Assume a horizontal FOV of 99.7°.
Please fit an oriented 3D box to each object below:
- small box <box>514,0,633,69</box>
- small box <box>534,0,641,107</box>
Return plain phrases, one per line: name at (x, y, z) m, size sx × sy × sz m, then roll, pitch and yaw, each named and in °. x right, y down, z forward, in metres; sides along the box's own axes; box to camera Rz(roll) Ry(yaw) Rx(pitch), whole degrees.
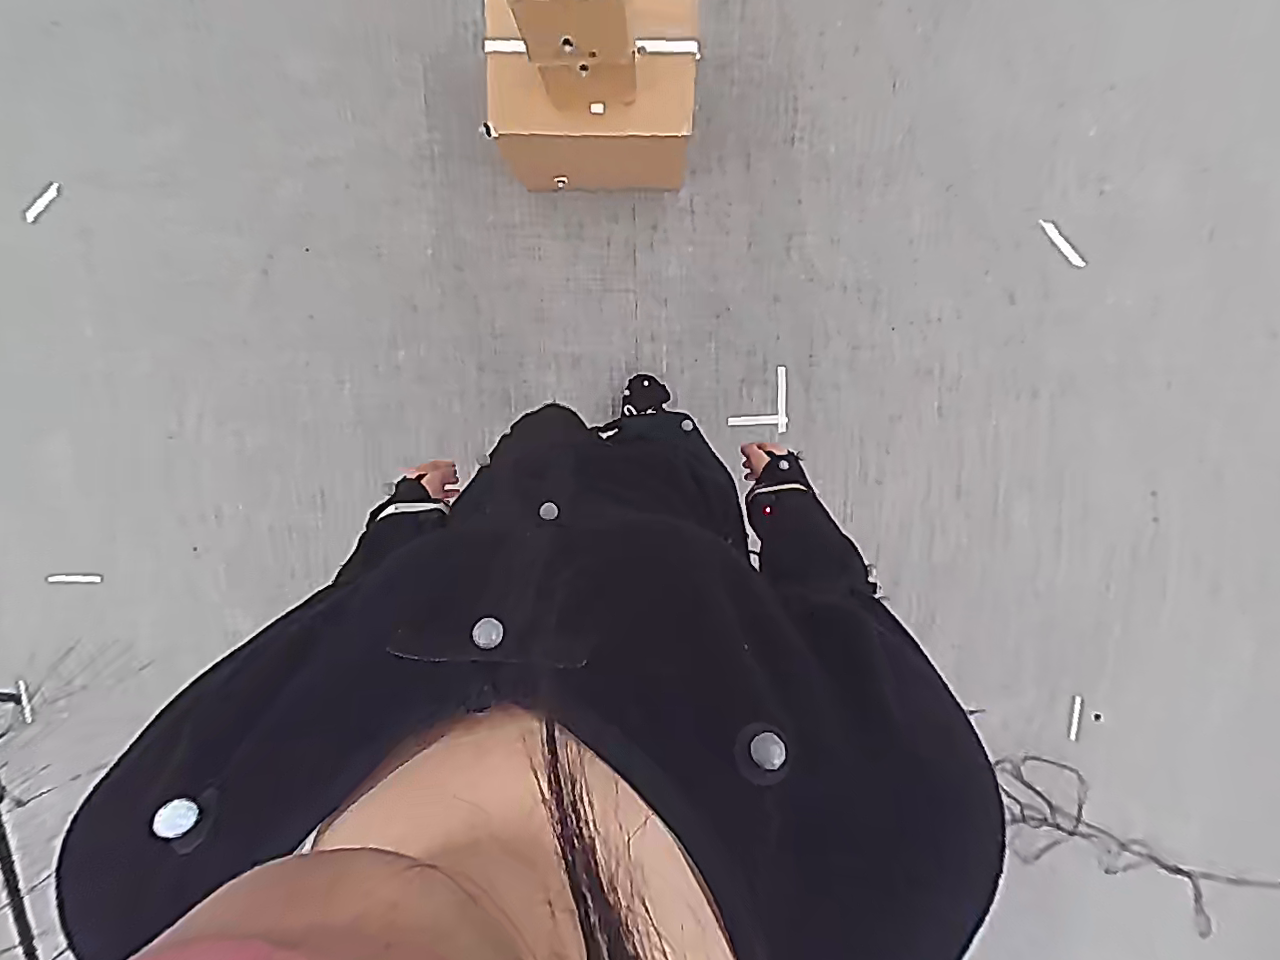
small box at (-0.096, -0.757, 0.804) m, size 0.168 × 0.176 × 0.179 m, roll 0°, pitch 101°, yaw 1°
small box at (-0.089, -0.793, 0.962) m, size 0.179 × 0.176 × 0.168 m, roll -1°, pitch 101°, yaw 1°
